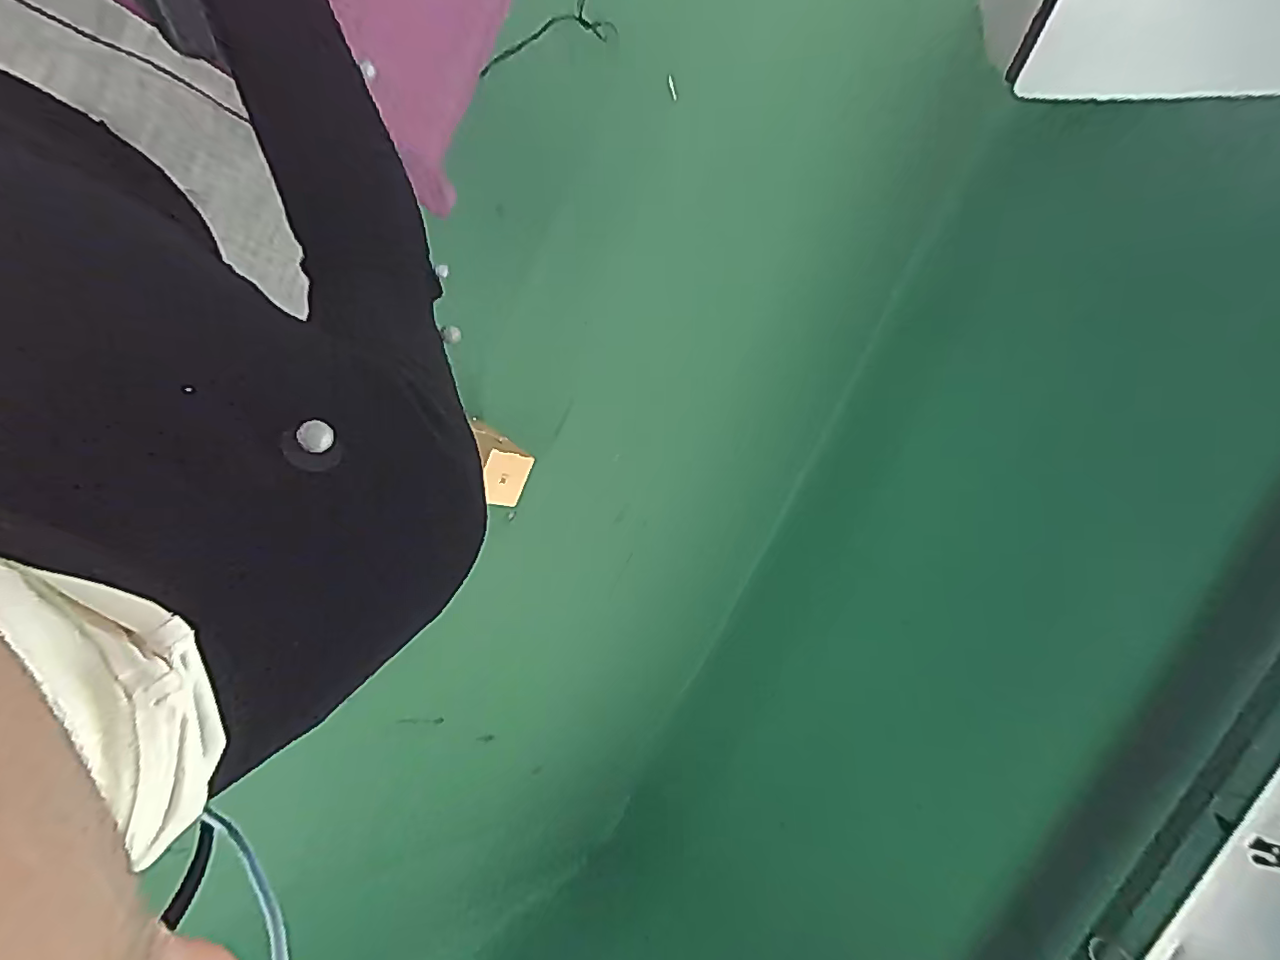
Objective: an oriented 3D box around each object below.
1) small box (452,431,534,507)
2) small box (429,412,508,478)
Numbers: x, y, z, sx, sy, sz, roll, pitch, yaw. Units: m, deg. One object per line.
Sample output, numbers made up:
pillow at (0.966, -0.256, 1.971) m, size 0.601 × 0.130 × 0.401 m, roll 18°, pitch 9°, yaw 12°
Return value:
small box at (-0.472, -0.033, 1.713) m, size 0.168 × 0.176 × 0.179 m, roll 13°, pitch 104°, yaw -50°
small box at (-0.579, -0.105, 1.812) m, size 0.168 × 0.176 × 0.179 m, roll 17°, pitch 101°, yaw -51°
